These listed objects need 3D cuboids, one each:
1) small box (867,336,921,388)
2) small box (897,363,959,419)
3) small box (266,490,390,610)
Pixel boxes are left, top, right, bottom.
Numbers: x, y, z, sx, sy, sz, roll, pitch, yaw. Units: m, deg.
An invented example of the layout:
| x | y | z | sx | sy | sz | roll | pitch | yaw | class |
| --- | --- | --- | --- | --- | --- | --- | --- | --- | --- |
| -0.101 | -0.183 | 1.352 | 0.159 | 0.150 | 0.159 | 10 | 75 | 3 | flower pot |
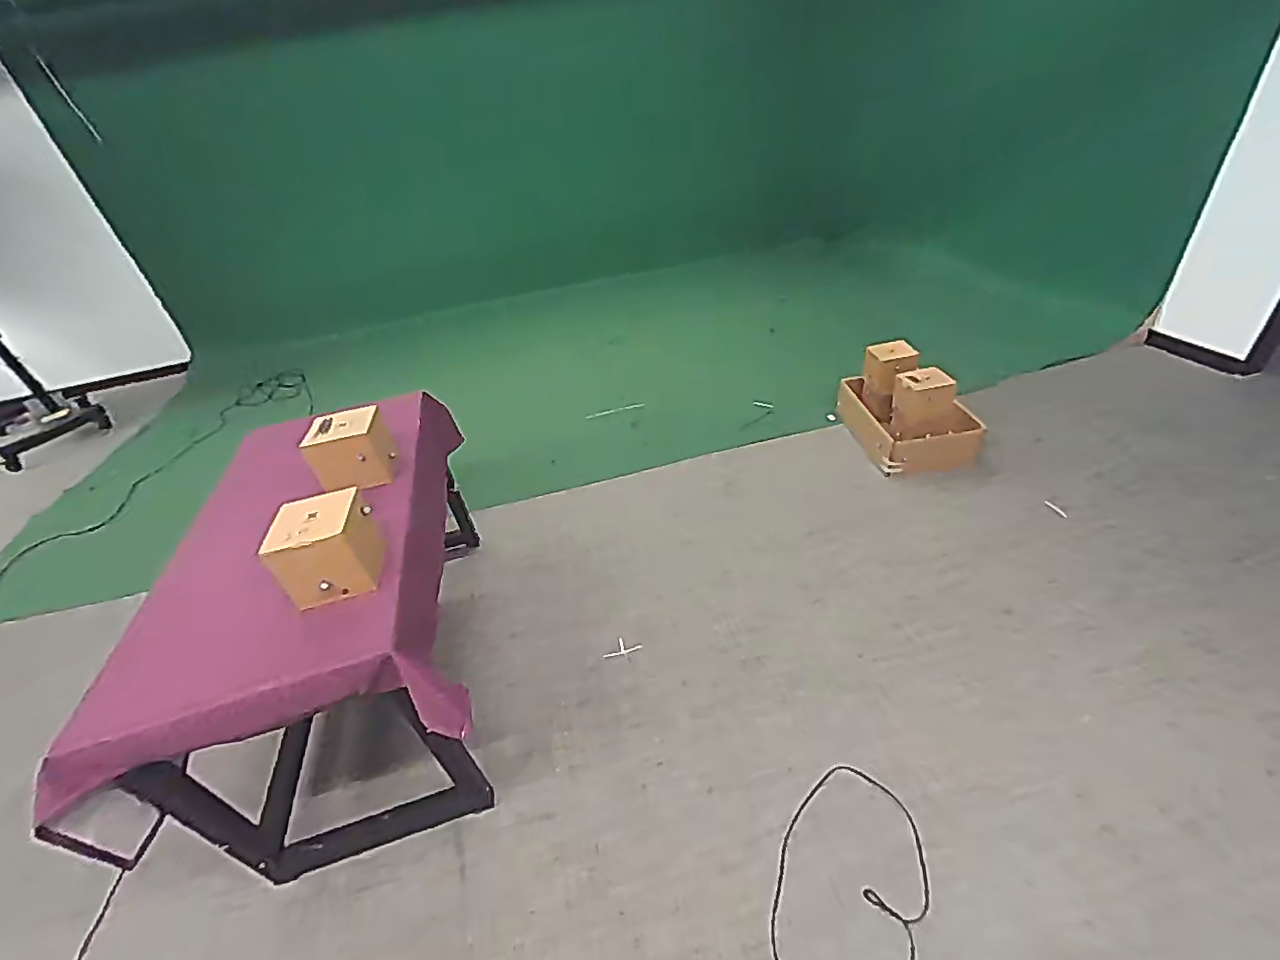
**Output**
| x | y | z | sx | sy | sz | roll | pitch | yaw | class |
| --- | --- | --- | --- | --- | --- | --- | --- | --- | --- |
| 1.187 | -0.552 | 2.541 | 0.179 | 0.176 | 0.168 | -11 | 37 | 3 | small box |
| 1.210 | -0.374 | 2.291 | 0.179 | 0.176 | 0.168 | -11 | 36 | 0 | small box |
| -0.675 | 0.154 | 1.198 | 0.168 | 0.176 | 0.179 | -16 | 36 | -5 | small box |
